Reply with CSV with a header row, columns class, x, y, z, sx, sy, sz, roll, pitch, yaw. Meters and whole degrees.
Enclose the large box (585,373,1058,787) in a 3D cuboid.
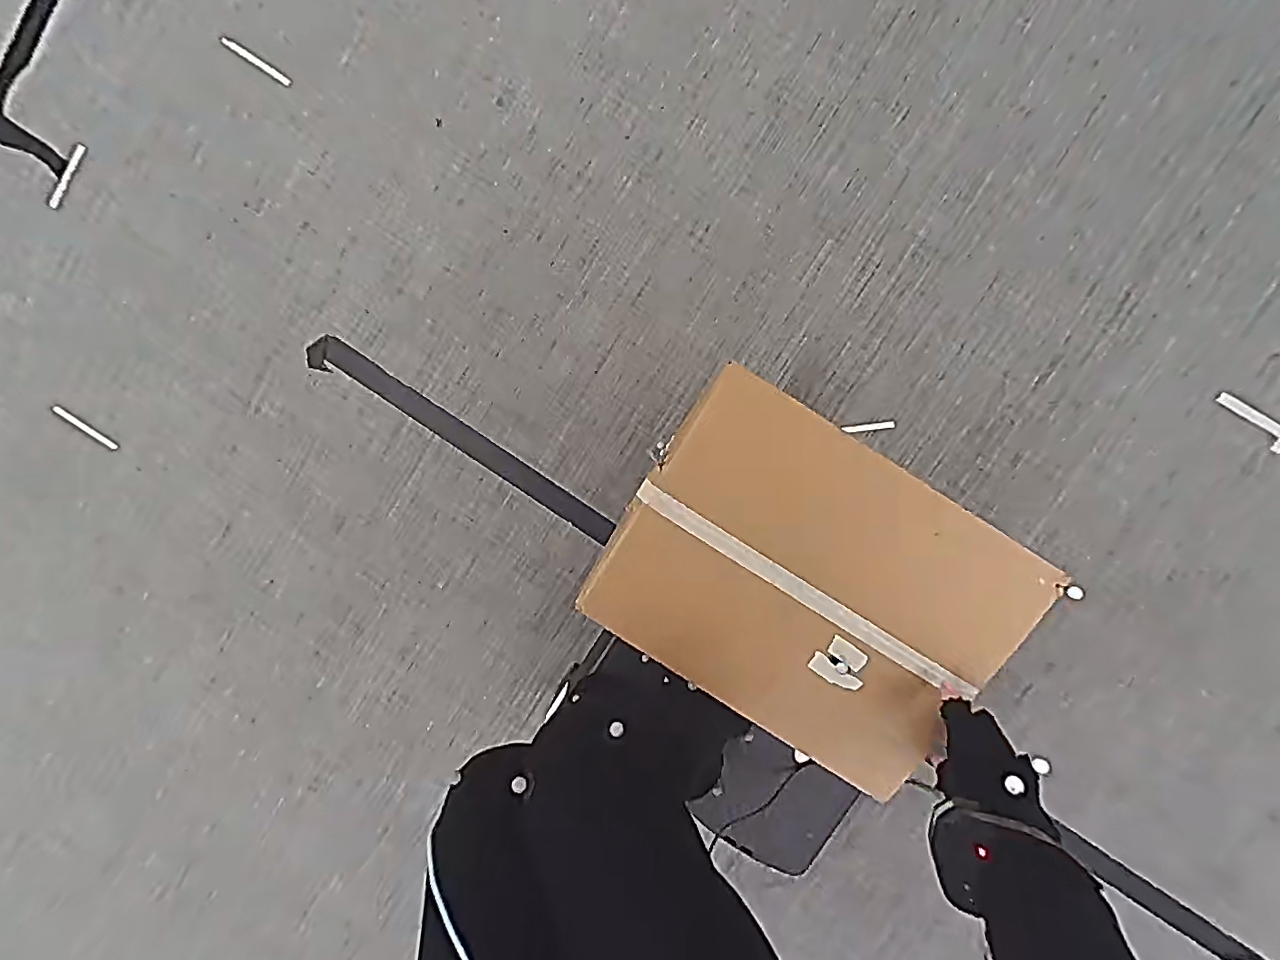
class,x,y,z,sx,sy,sz,roll,pitch,yaw
large box,0.193,0.093,0.720,0.408,0.320,0.320,32,102,-1
